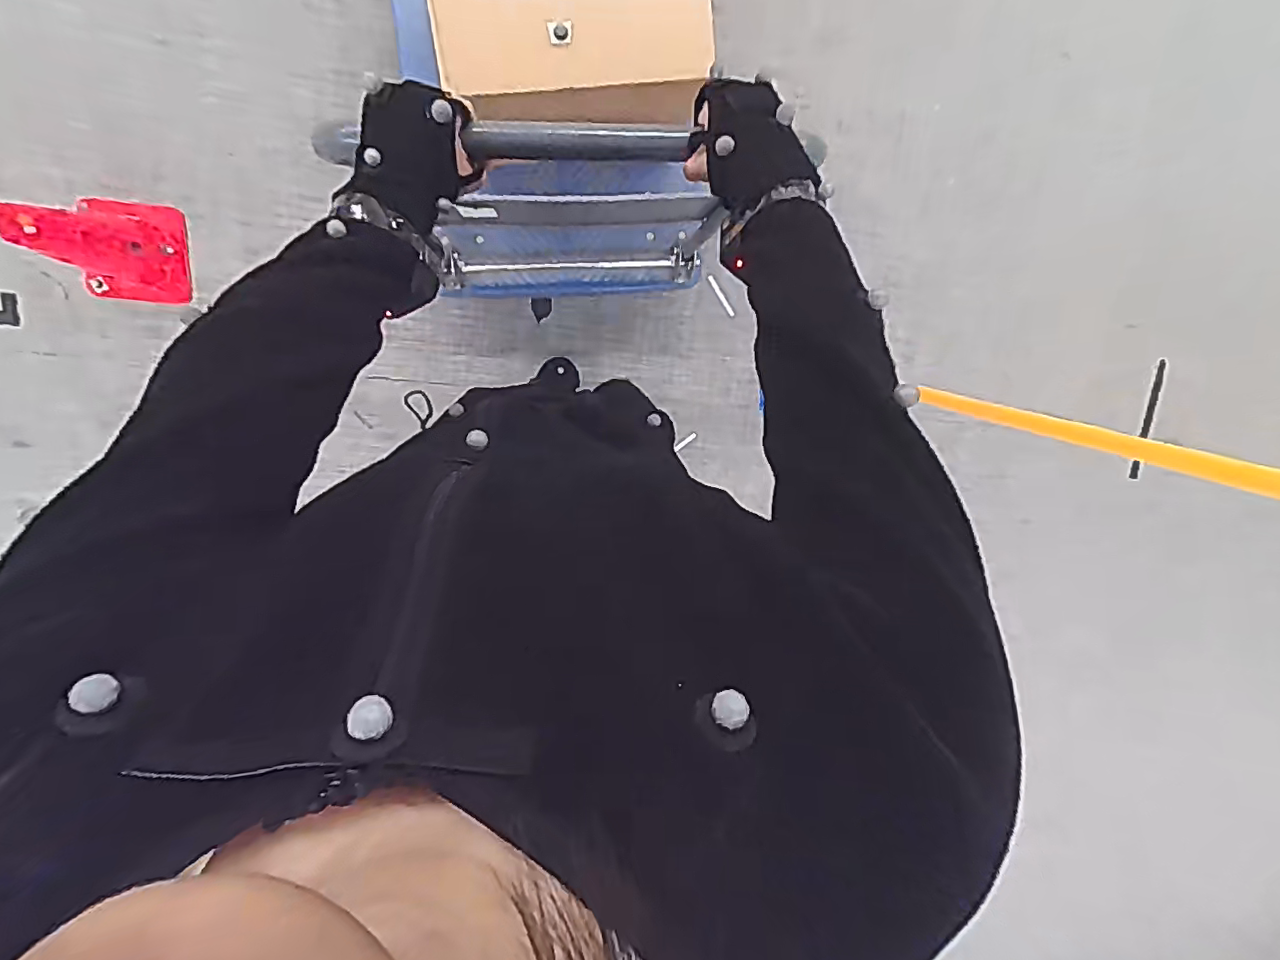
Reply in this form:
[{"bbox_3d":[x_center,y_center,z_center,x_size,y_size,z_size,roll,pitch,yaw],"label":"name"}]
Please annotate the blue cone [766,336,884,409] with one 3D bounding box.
[{"bbox_3d":[0.454,-0.252,1.285,0.193,0.380,0.192,-1,102,-9],"label":"blue cone"}]
